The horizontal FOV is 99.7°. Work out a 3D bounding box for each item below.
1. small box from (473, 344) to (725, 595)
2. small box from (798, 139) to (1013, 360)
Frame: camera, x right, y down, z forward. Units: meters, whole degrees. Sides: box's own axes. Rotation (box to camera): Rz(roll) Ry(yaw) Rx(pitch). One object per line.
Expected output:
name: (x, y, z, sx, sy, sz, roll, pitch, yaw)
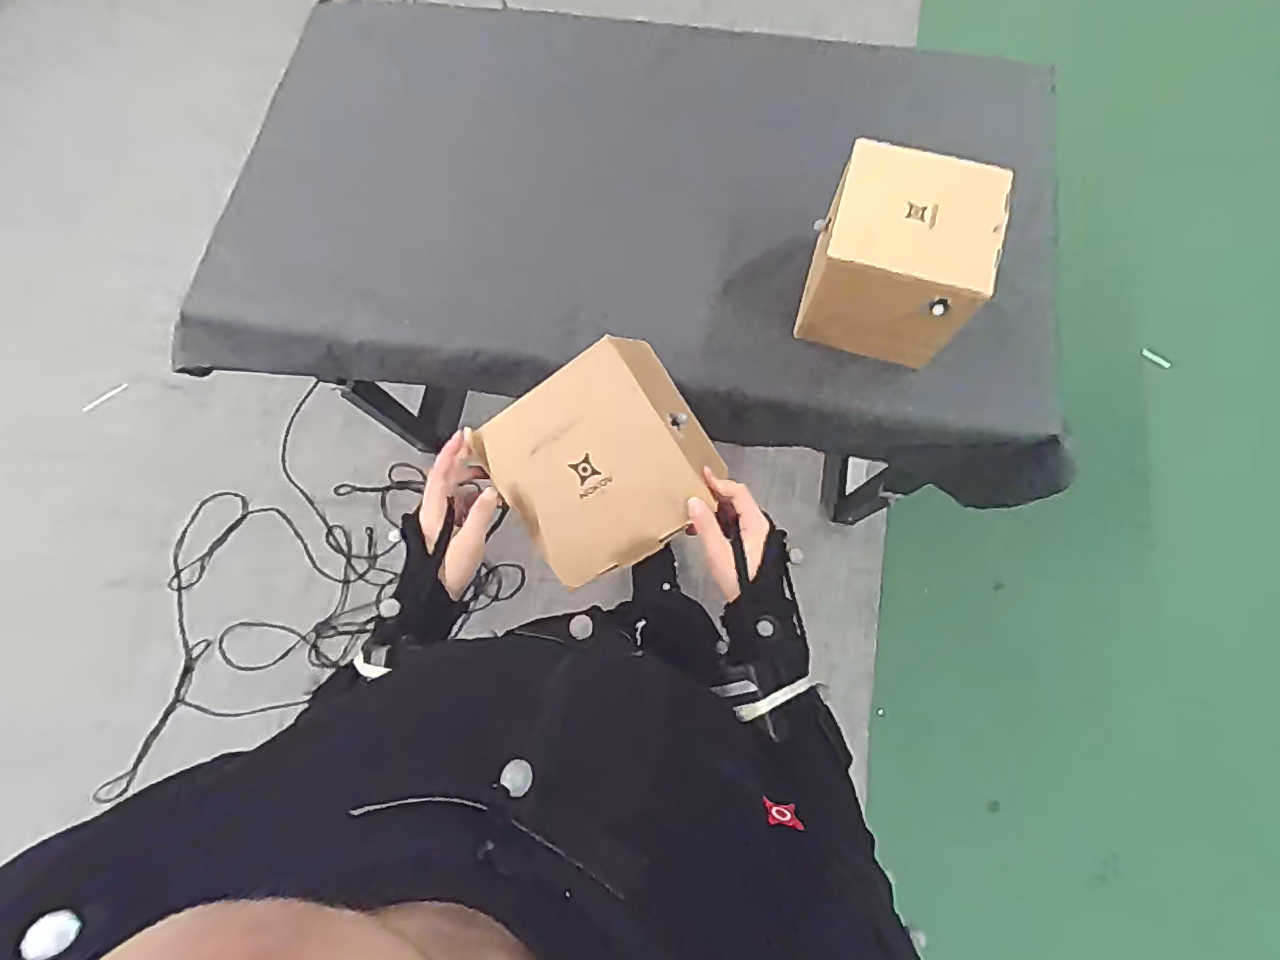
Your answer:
small box: (-0.025, -0.020, 0.550, 0.168, 0.176, 0.179, -32, 93, 16)
small box: (0.309, -0.269, 0.662, 0.179, 0.176, 0.168, 16, 76, 6)
